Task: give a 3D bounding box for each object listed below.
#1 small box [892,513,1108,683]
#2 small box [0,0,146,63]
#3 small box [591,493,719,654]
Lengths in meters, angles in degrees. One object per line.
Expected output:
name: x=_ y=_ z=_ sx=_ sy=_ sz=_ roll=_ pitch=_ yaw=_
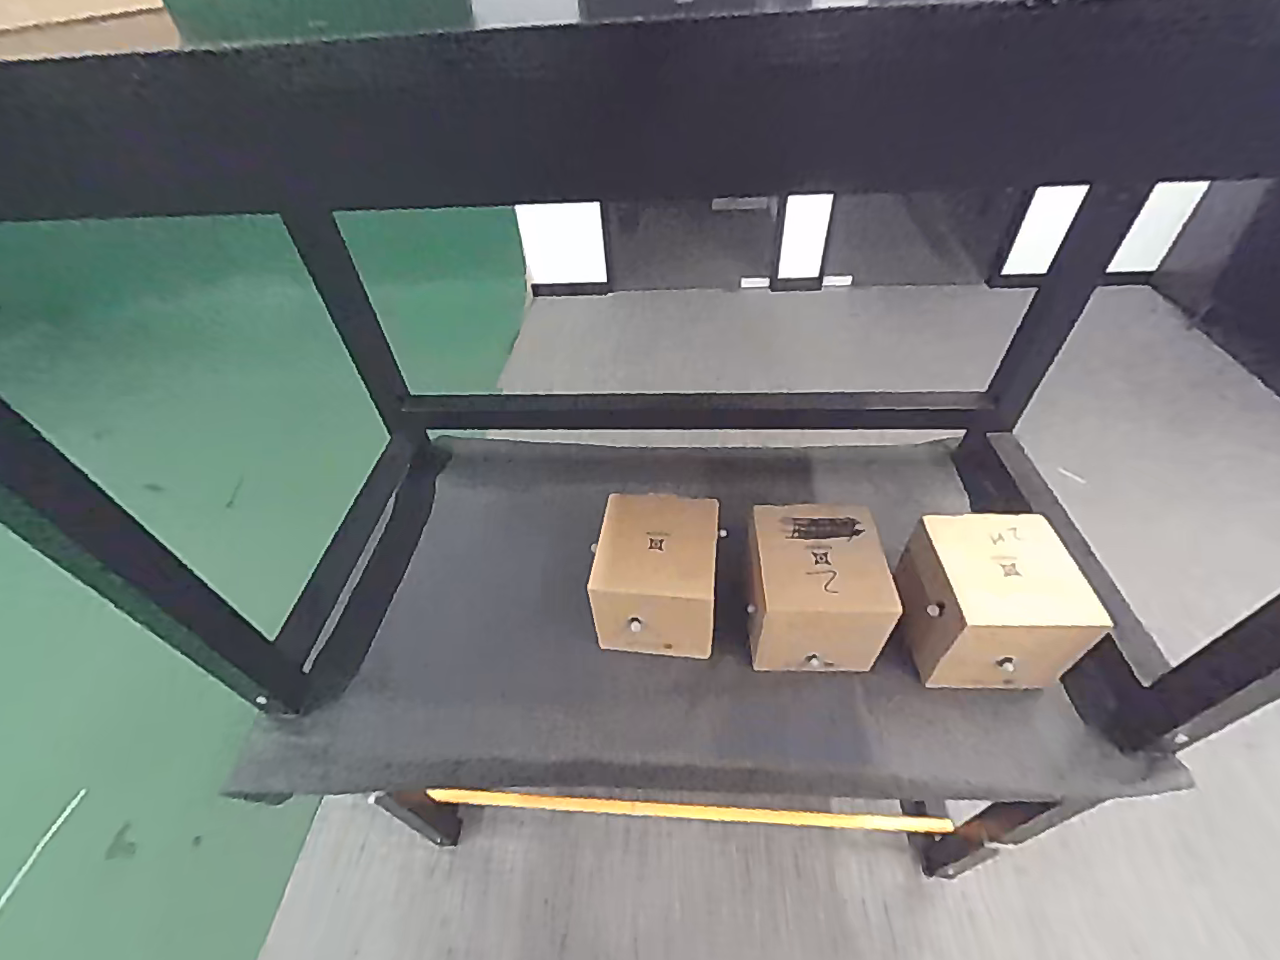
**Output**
small box: x=0.474 y=0.166 z=0.749 sx=0.168 sy=0.176 sz=0.179 roll=-1 pitch=44 yaw=4
small box: x=-0.425 y=-0.331 z=0.281 sx=0.168 sy=0.176 sz=0.179 roll=0 pitch=46 yaw=3
small box: x=0.031 y=0.141 z=0.812 sx=0.168 sy=0.176 sz=0.179 roll=3 pitch=45 yaw=7
